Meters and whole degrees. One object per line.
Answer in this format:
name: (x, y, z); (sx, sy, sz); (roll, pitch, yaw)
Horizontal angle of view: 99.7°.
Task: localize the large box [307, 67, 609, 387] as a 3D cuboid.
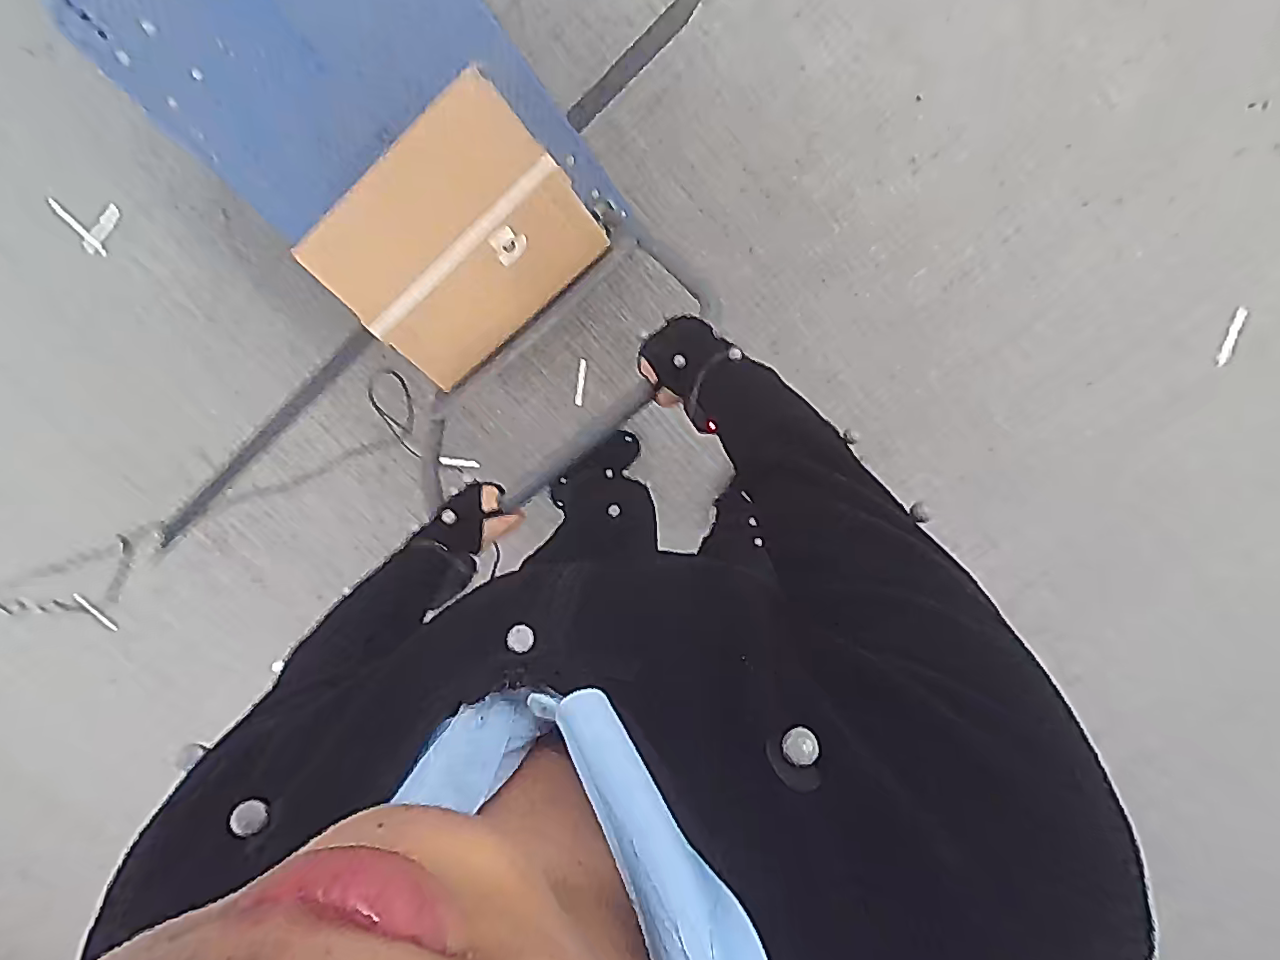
large box: (-0.324, -0.457, 1.025); (0.408, 0.320, 0.320); (-40, 121, 10)
